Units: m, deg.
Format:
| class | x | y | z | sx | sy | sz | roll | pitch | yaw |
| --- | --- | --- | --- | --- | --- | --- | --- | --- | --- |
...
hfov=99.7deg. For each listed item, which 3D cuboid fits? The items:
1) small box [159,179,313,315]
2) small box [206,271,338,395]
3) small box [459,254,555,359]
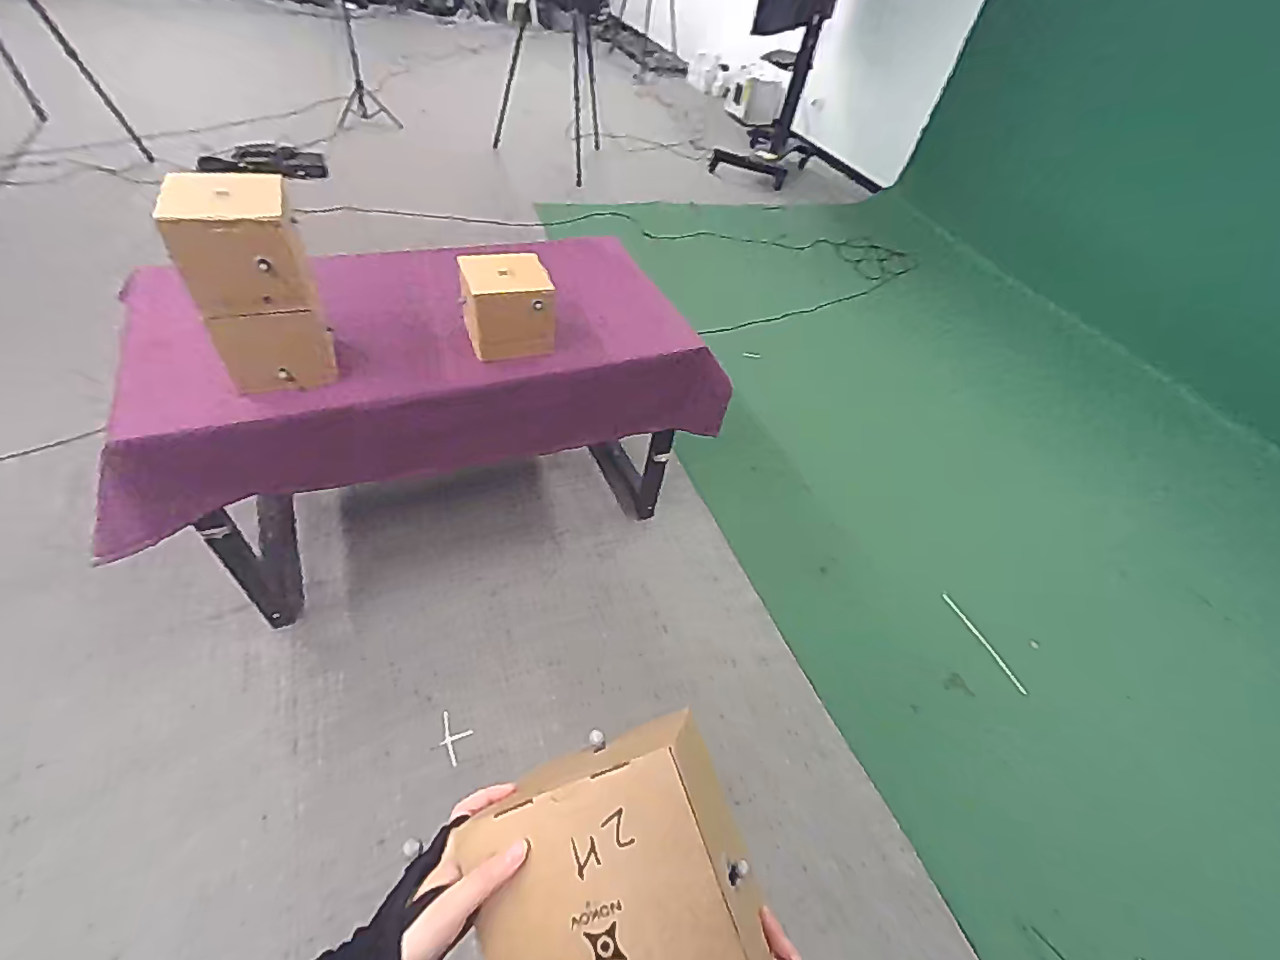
| class | x | y | z | sx | sy | sz | roll | pitch | yaw |
| --- | --- | --- | --- | --- | --- | --- | --- | --- | --- |
| small box | -0.683 | -0.400 | 0.938 | 0.168 | 0.176 | 0.179 | -12 | 51 | -21 |
| small box | -0.705 | -0.287 | 1.055 | 0.179 | 0.176 | 0.168 | -13 | 51 | -22 |
| small box | -0.299 | -0.390 | 1.226 | 0.179 | 0.176 | 0.168 | -12 | 52 | -21 |
